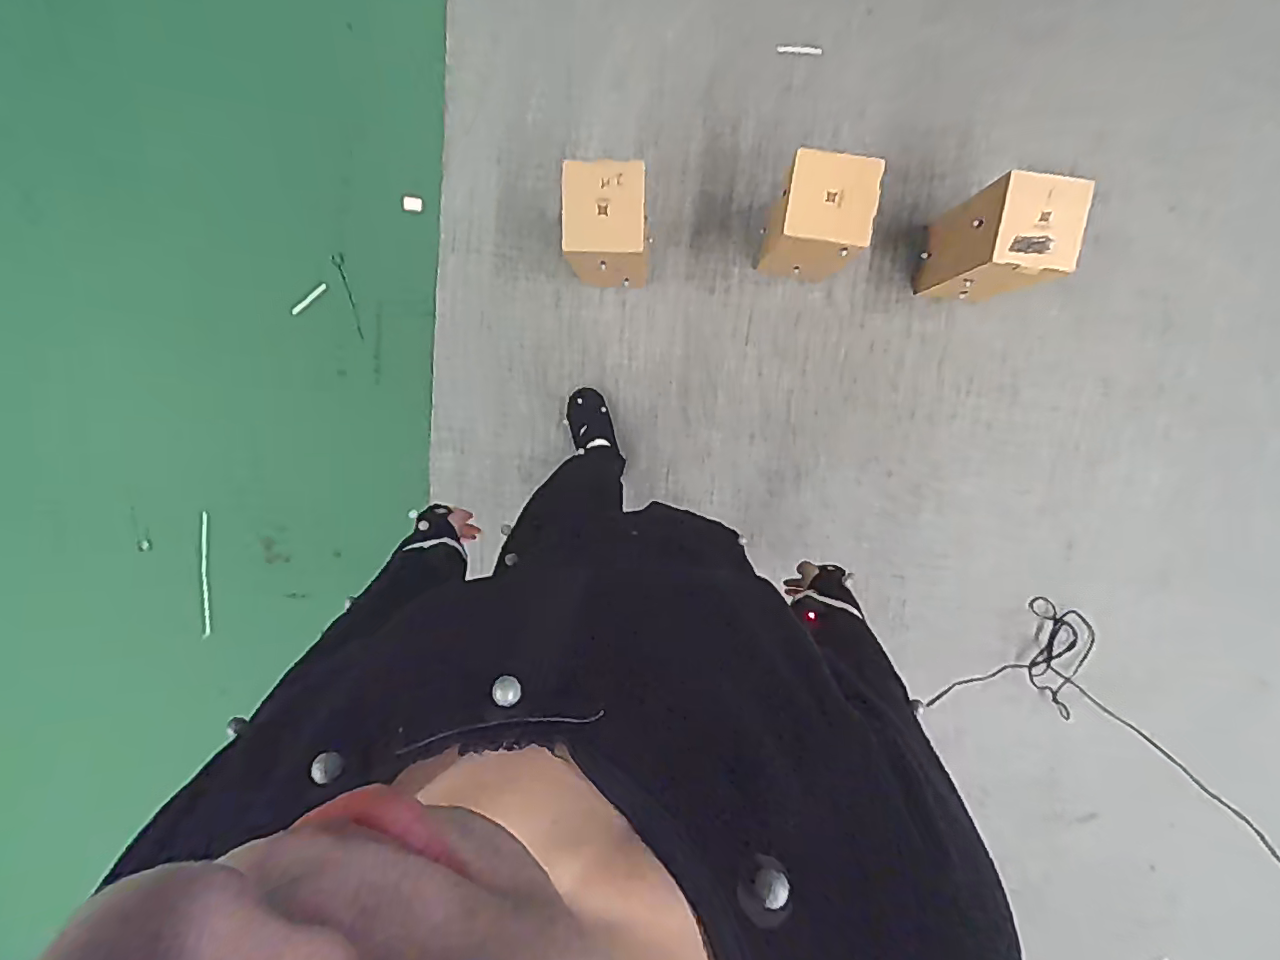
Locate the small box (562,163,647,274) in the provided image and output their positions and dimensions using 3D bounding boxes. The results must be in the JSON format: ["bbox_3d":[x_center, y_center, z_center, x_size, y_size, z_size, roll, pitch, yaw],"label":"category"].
[{"bbox_3d":[-0.071,-0.551,1.161,0.168,0.176,0.179,2,97,1],"label":"small box"}]

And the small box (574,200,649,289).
[{"bbox_3d":[-0.064,-0.575,1.324,0.168,0.176,0.179,3,97,1],"label":"small box"}]

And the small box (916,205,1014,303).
[{"bbox_3d":[0.791,-0.533,1.300,0.168,0.176,0.179,7,98,1],"label":"small box"}]

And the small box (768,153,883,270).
[{"bbox_3d":[0.382,-0.559,1.145,0.179,0.176,0.168,8,97,1],"label":"small box"}]

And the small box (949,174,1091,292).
[{"bbox_3d":[0.784,-0.507,1.137,0.168,0.176,0.179,8,97,1],"label":"small box"}]
